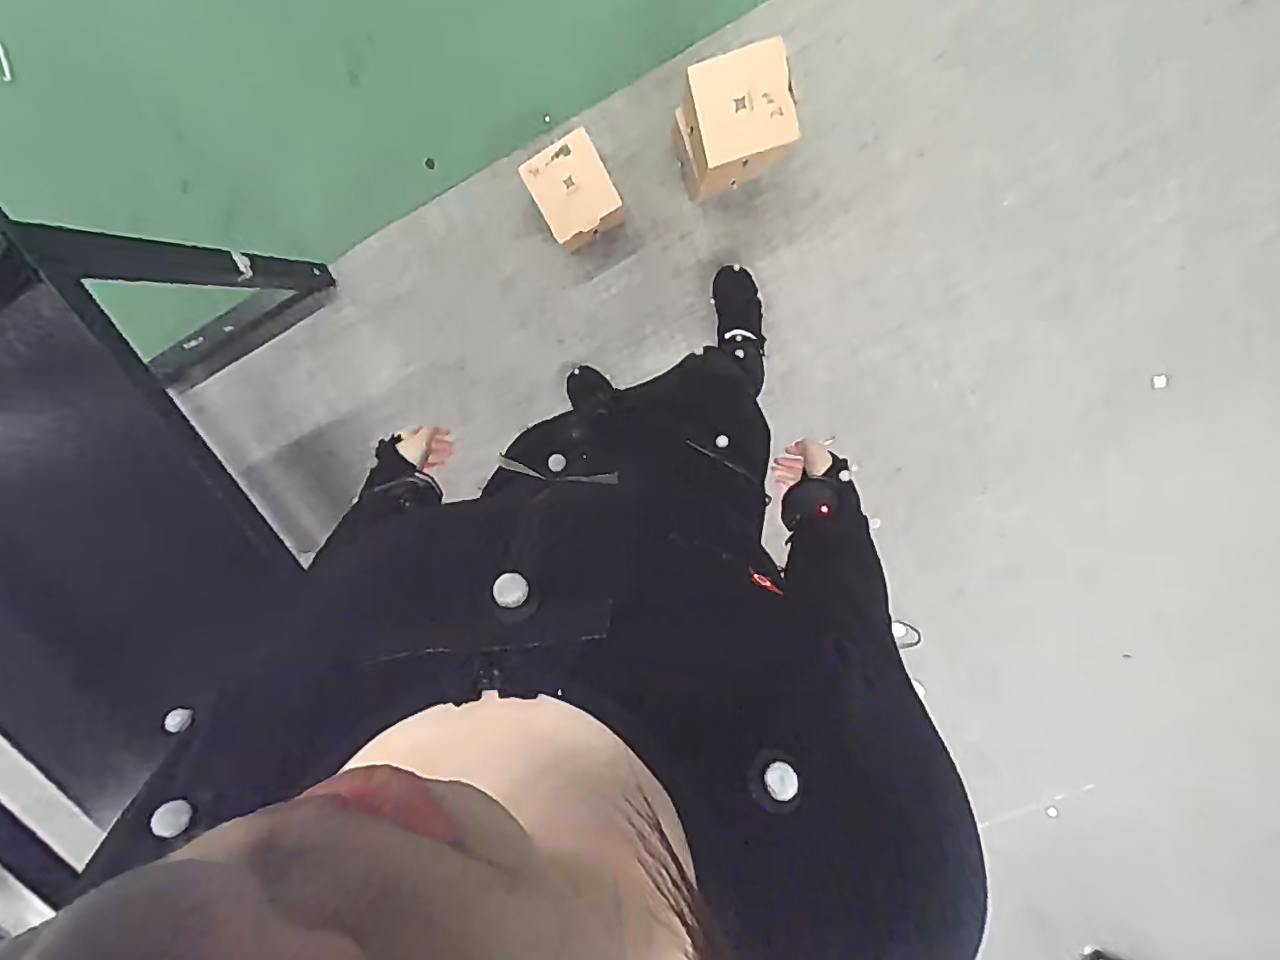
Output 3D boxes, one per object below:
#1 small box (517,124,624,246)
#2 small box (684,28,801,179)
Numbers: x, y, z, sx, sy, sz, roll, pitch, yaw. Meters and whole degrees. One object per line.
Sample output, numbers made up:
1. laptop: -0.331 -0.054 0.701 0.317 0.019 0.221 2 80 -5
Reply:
1. small box: -0.145 -0.646 1.212 0.168 0.176 0.179 -28 105 9
2. small box: 0.184 -0.695 1.021 0.179 0.176 0.168 -16 108 5
